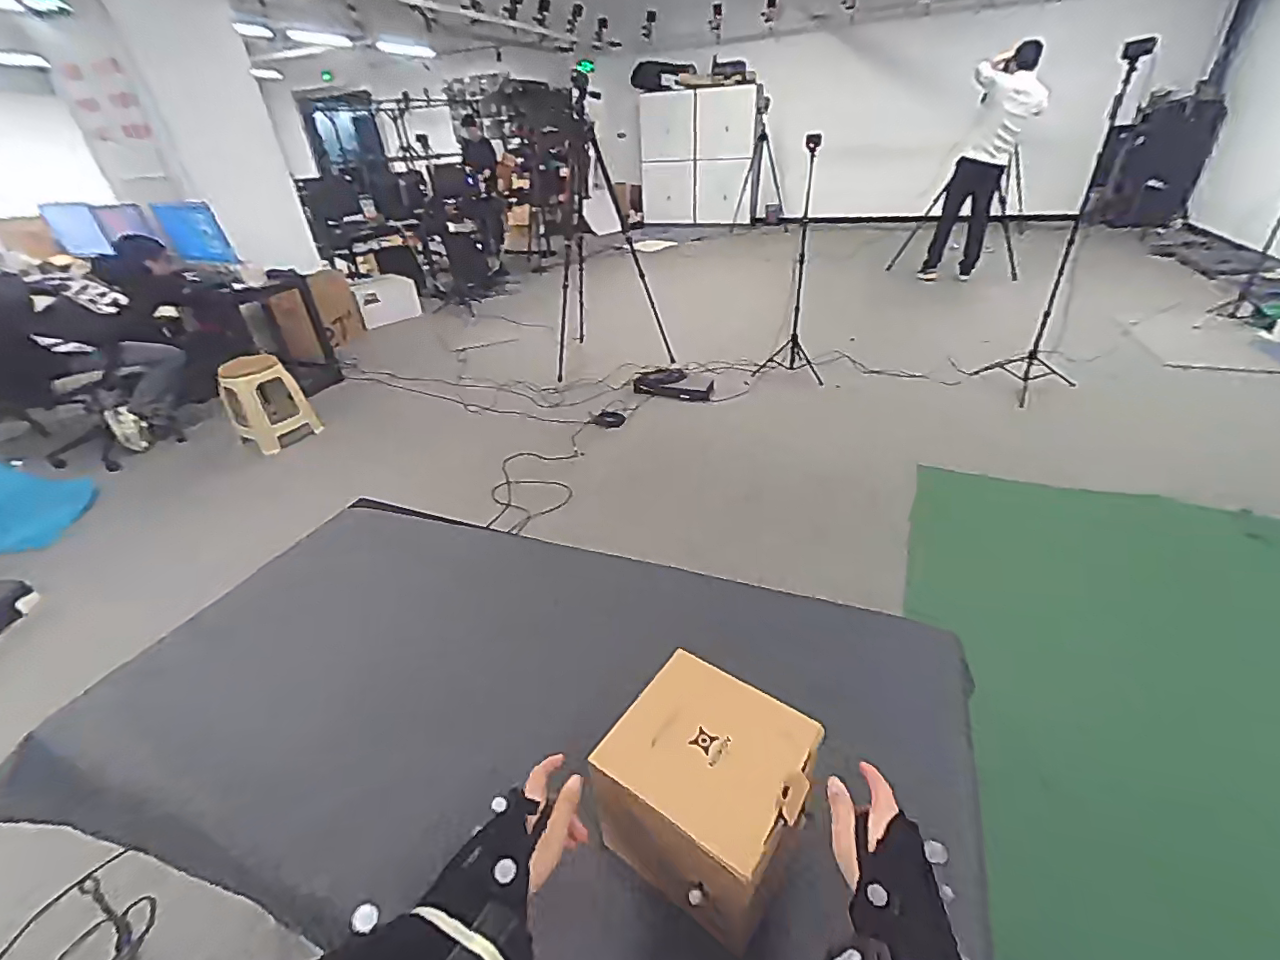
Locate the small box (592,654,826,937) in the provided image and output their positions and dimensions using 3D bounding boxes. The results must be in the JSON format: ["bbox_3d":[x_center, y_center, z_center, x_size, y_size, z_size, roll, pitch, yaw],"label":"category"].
[{"bbox_3d":[0.075,0.329,0.571,0.179,0.176,0.168,18,38,32],"label":"small box"}]
